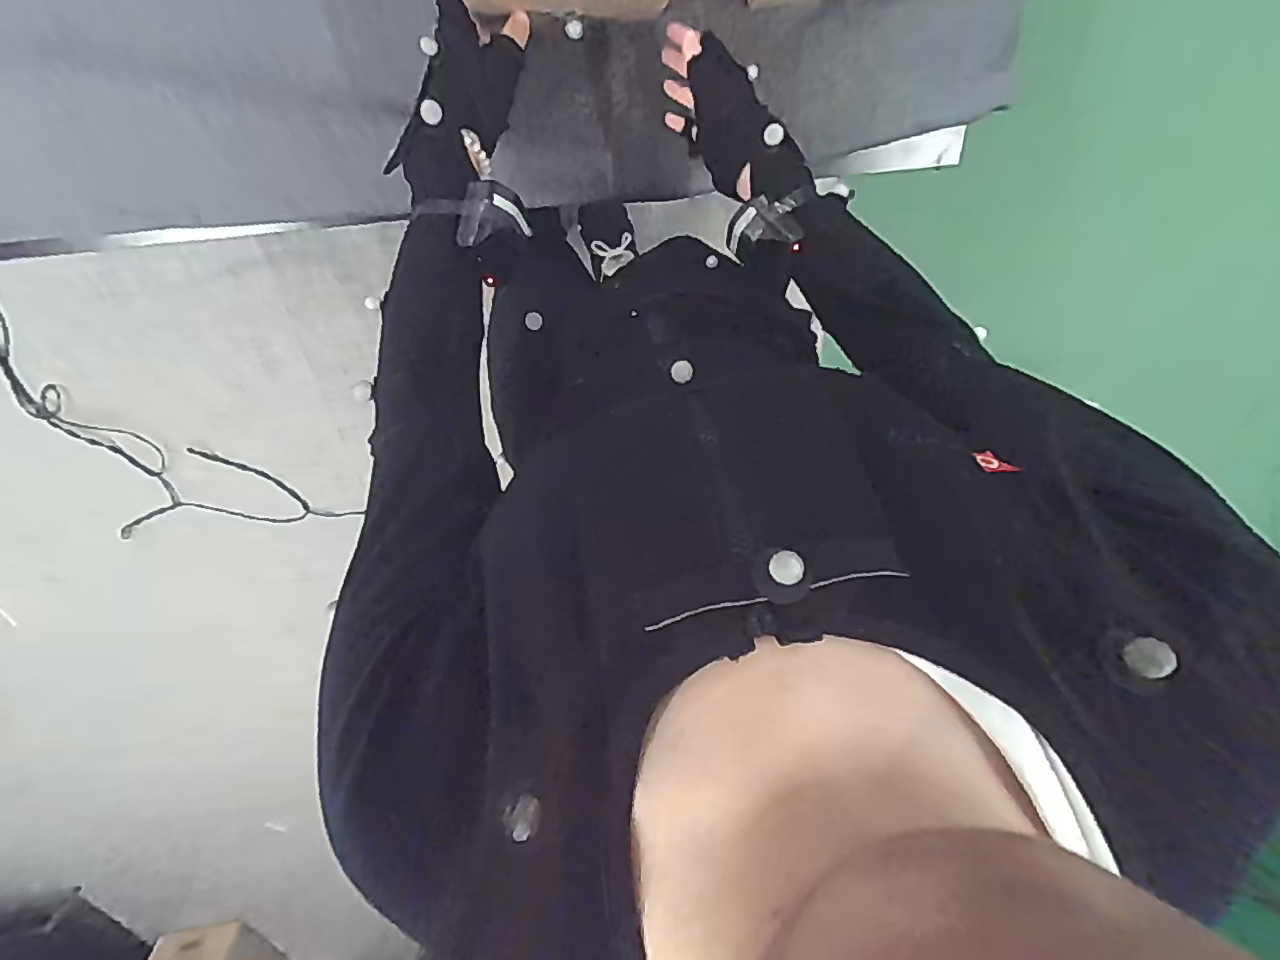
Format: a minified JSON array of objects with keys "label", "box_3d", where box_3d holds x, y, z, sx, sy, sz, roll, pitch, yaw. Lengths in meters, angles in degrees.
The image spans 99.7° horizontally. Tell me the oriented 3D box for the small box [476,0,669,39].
[{"label":"small box","box_3d":[-0.061,-0.460,0.398,0.168,0.176,0.179,-7,120,-2]}]
